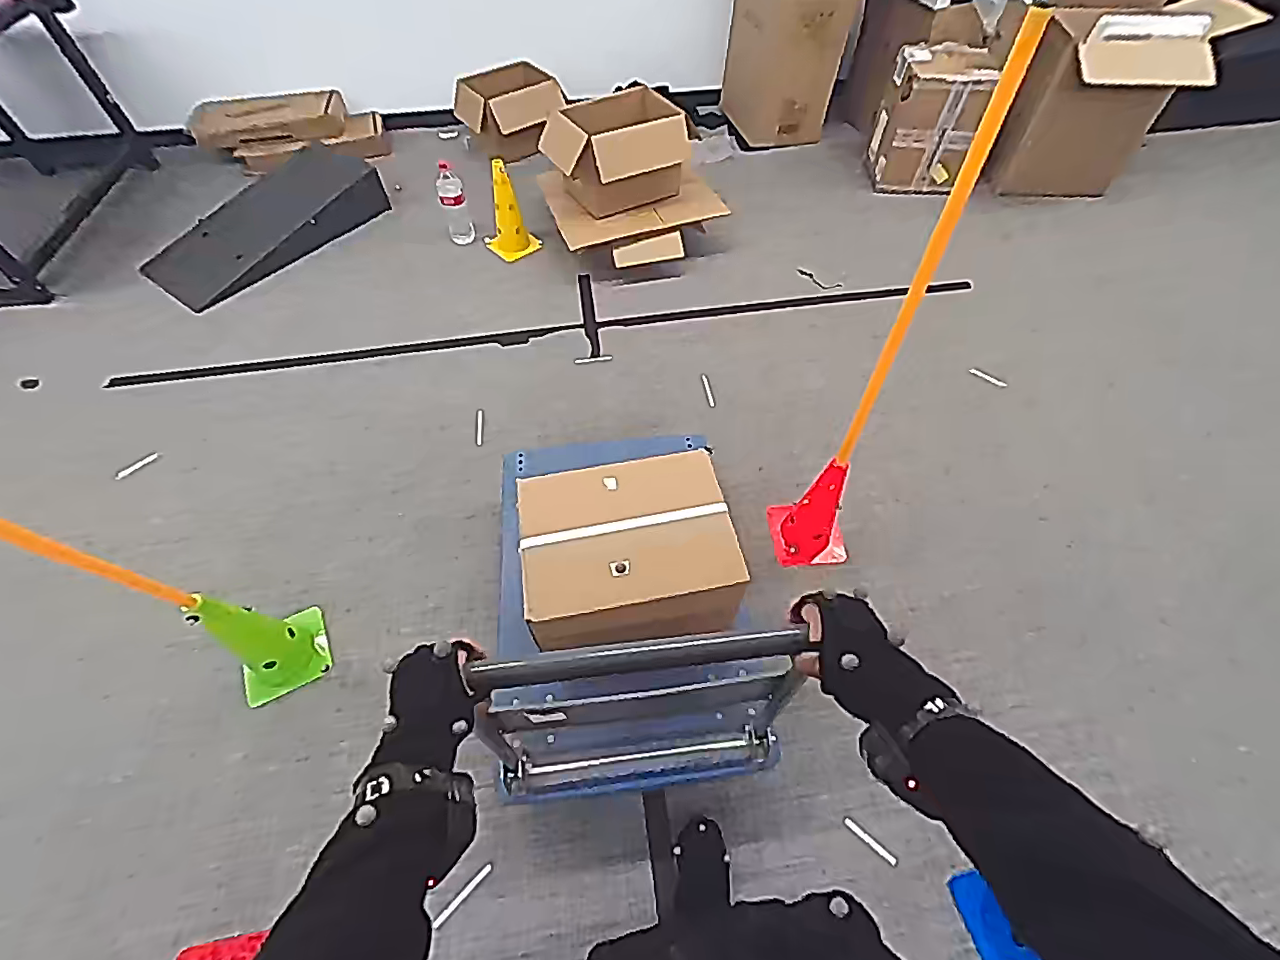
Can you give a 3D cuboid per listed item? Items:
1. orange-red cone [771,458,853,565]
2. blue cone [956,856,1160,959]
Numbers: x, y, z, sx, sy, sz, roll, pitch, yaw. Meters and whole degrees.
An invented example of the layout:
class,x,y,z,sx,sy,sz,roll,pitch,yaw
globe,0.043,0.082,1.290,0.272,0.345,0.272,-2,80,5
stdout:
class,x,y,z,sx,sy,sz,roll,pitch,yaw
orange-red cone,0.489,0.060,1.427,0.199,0.360,0.198,-1,56,-2
blue cone,0.750,0.783,0.938,0.193,0.380,0.192,-10,54,-7
